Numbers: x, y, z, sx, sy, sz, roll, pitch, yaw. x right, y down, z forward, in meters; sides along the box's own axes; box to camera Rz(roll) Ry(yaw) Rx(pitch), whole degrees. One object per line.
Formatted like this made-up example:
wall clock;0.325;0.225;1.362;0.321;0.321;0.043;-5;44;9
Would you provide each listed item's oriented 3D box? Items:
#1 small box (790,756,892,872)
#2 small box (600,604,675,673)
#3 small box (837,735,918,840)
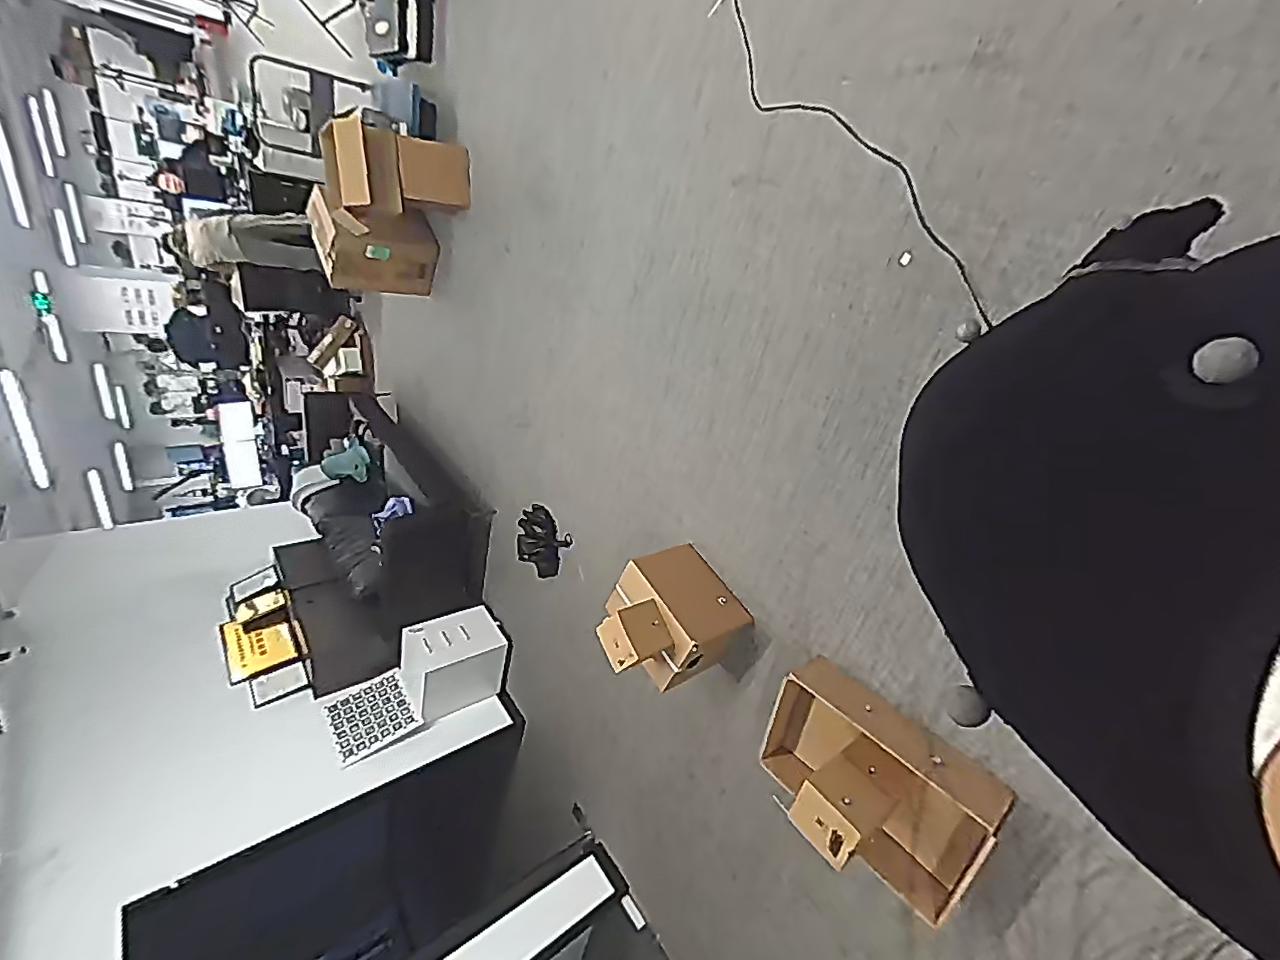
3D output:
small box;0.548;0.898;1.469;0.179;0.176;0.168;37;124;41
small box;-0.009;0.551;1.907;0.168;0.176;0.179;-49;60;43
small box;0.673;0.887;1.576;0.179;0.176;0.168;34;122;43
